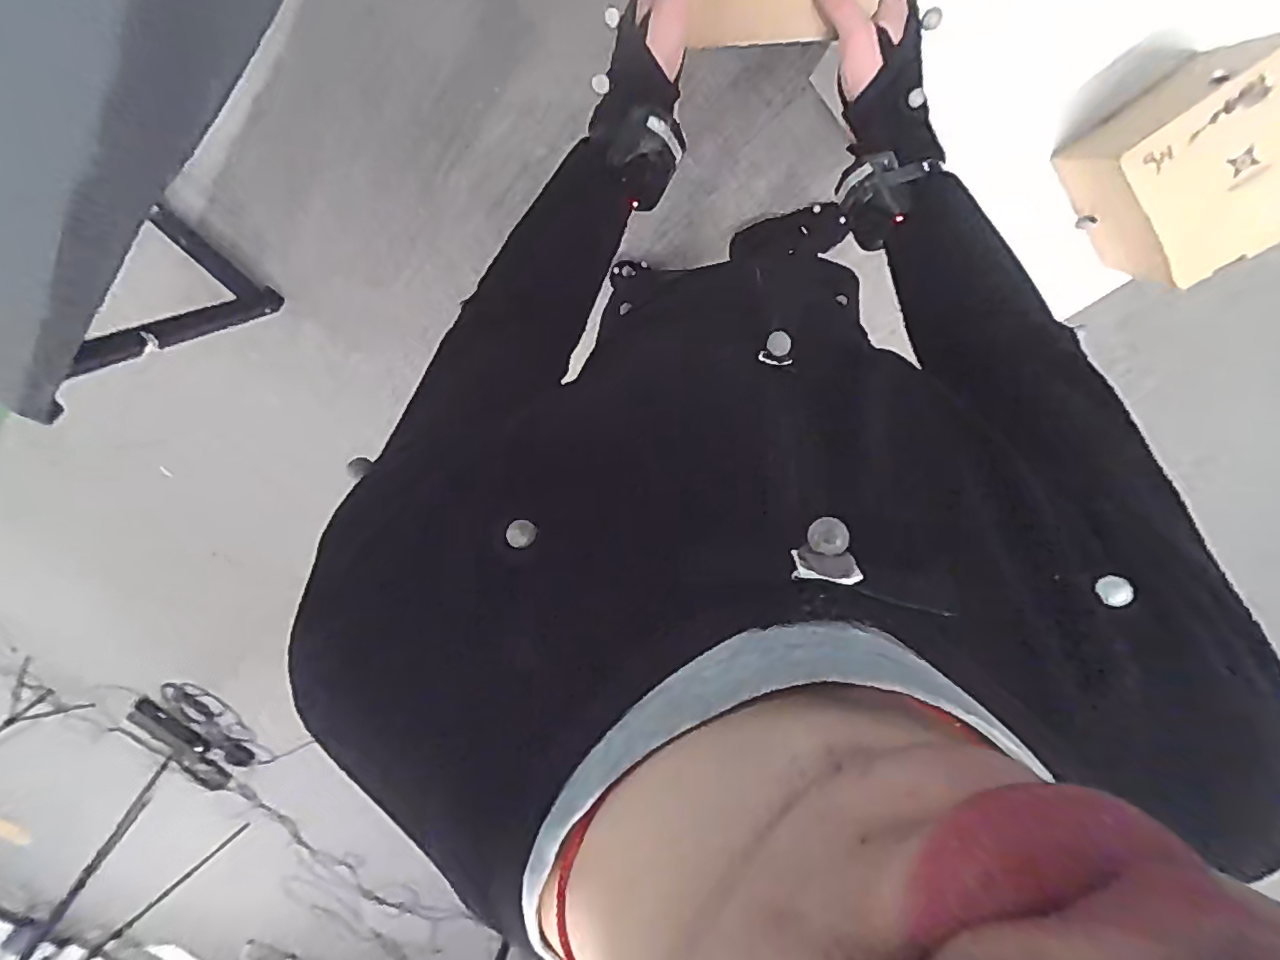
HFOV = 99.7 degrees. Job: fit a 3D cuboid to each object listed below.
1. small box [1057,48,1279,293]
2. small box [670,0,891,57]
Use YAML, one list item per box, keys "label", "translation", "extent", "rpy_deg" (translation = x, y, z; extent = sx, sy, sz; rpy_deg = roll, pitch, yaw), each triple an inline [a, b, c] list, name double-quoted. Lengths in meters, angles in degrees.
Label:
- label: "small box"
  translation: [0.630, -0.350, 0.615]
  extent: [0.168, 0.176, 0.179]
  rpy_deg: [-33, 110, 27]
- label: "small box"
  translation: [0.115, -0.473, 0.454]
  extent: [0.179, 0.176, 0.168]
  rpy_deg: [1, 132, 8]
